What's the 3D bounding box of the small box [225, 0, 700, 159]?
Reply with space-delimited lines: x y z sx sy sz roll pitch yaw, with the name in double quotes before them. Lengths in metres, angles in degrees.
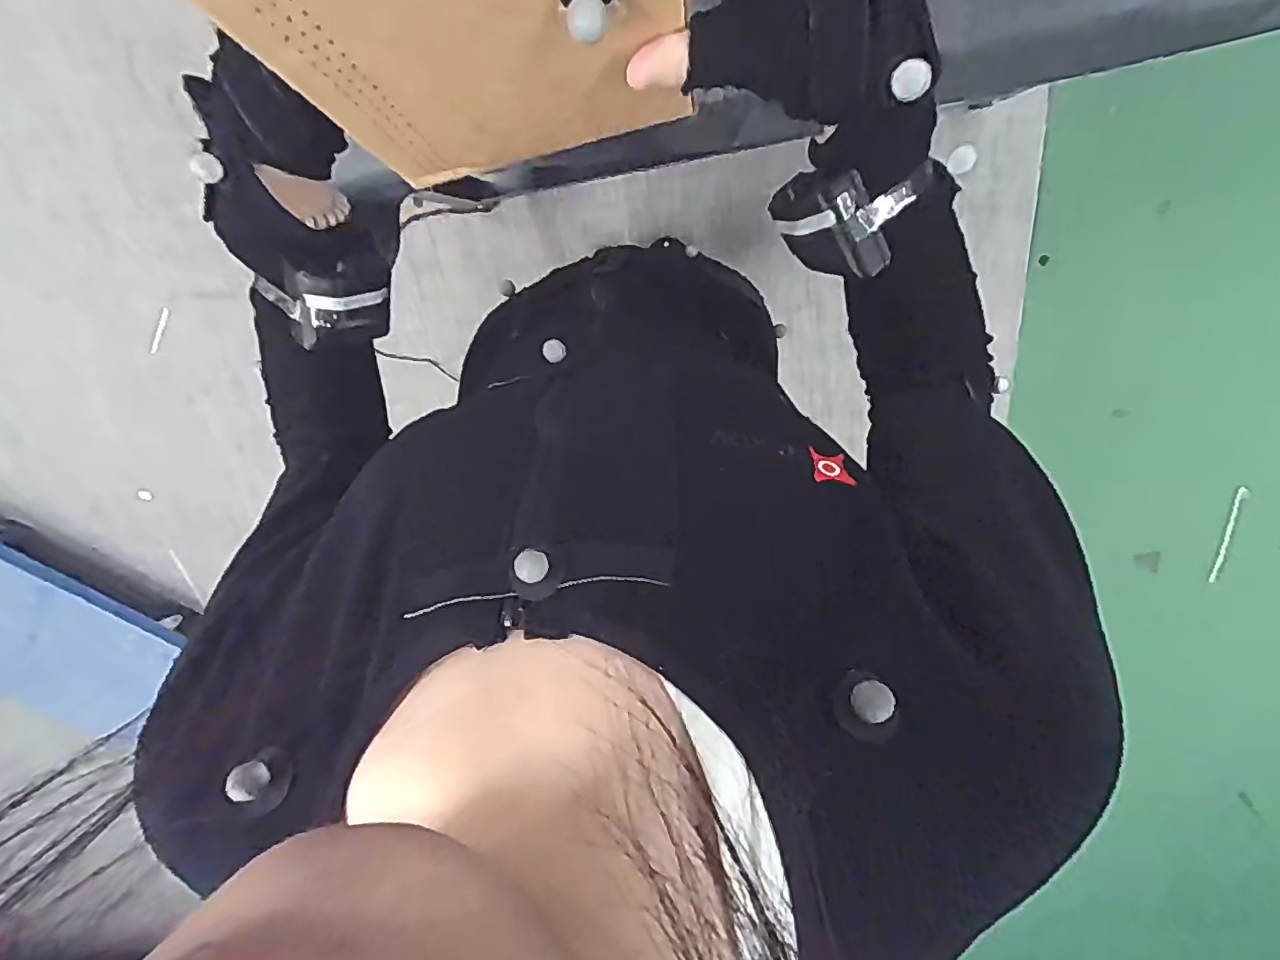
"small box" -0.074 -0.259 0.214 0.176 0.179 0.168 -10 93 9
